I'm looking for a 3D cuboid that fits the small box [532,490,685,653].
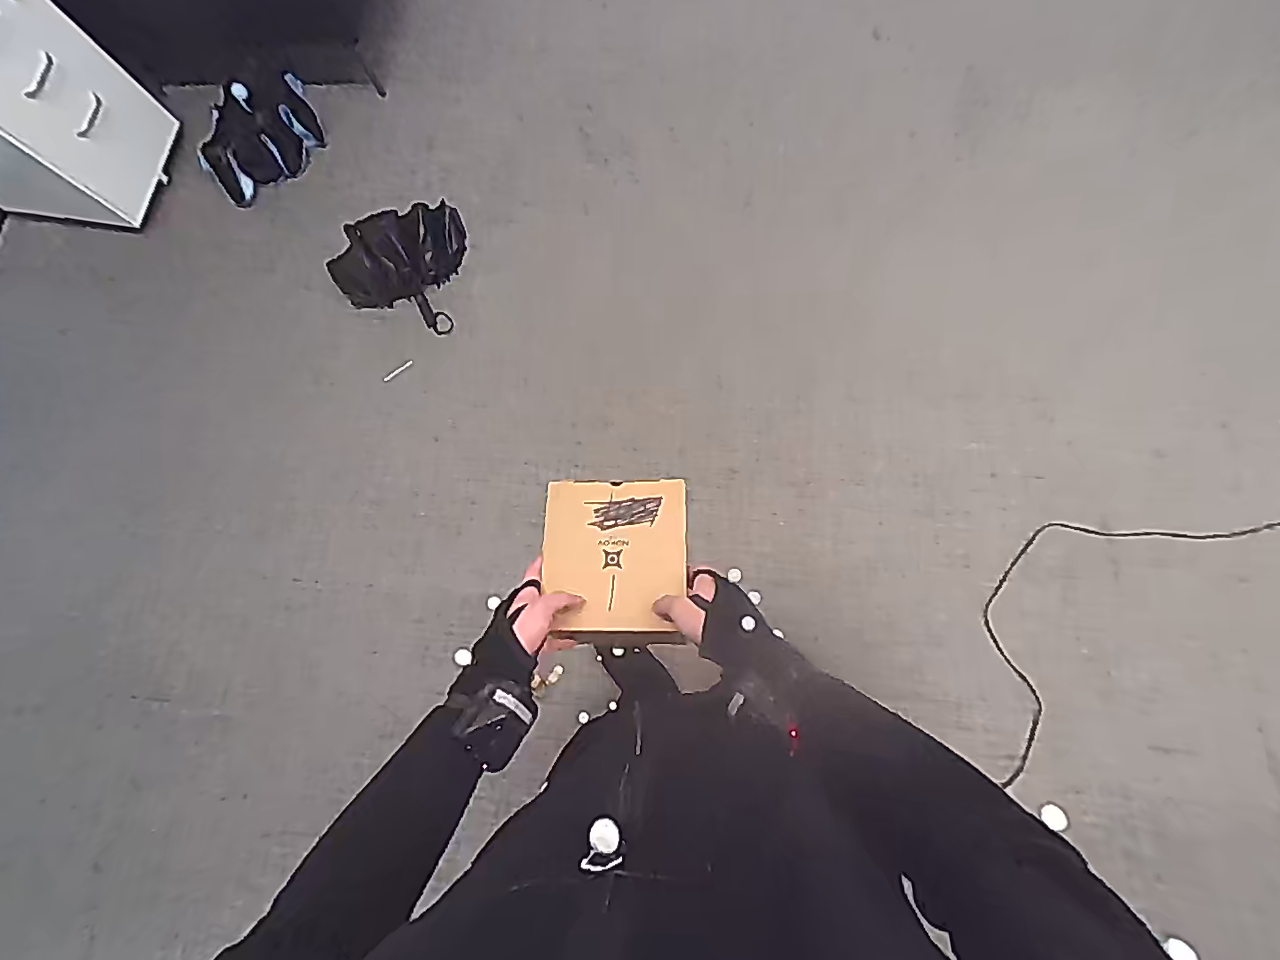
[{"bbox_3d":[-0.029,0.123,0.695,0.168,0.176,0.179,-1,69,6],"label":"small box"}]
